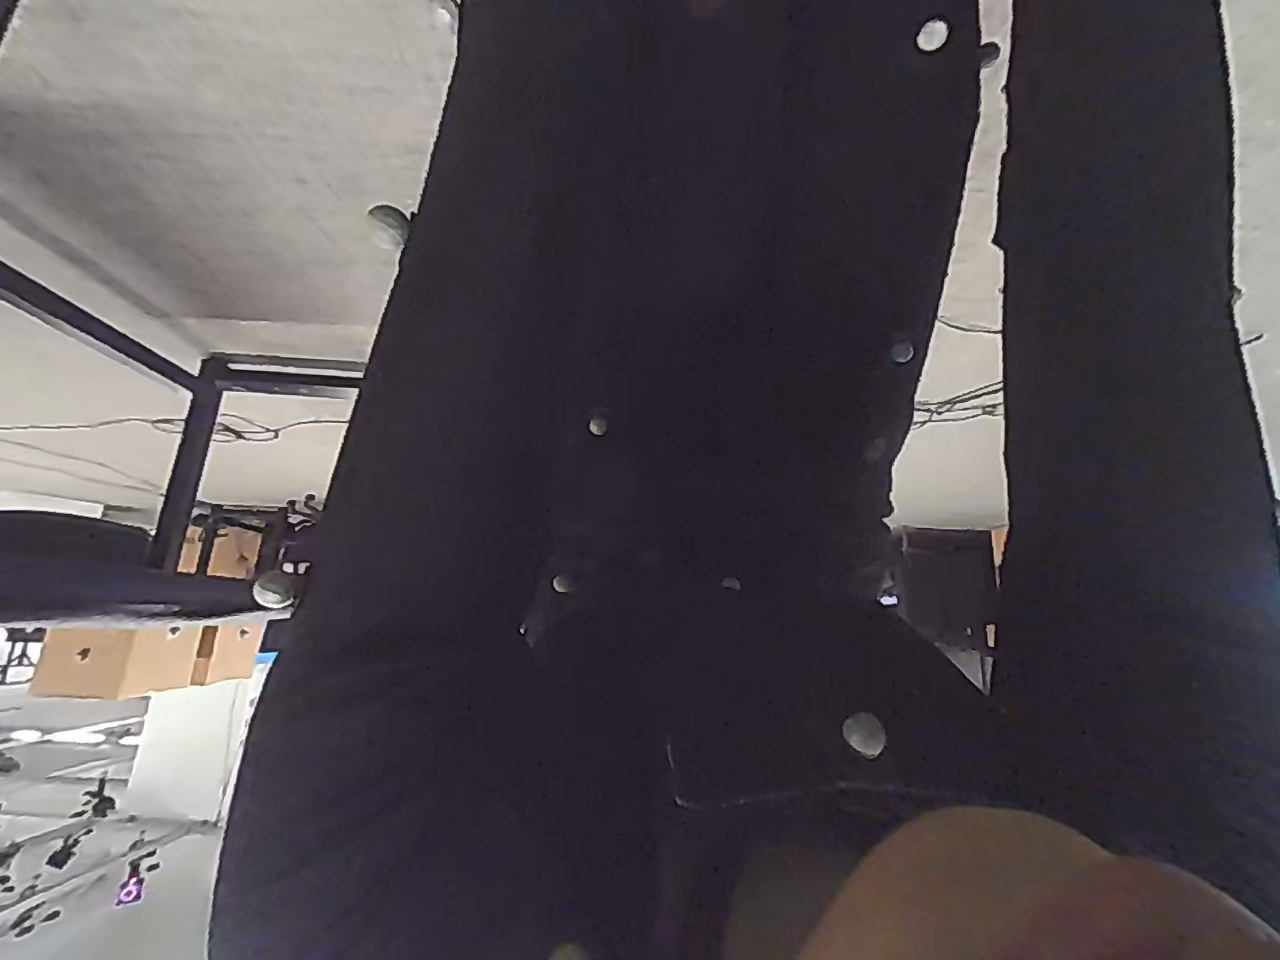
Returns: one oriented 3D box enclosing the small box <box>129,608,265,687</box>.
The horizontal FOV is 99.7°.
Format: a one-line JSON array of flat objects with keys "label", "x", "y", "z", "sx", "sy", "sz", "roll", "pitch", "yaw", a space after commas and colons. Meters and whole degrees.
[{"label": "small box", "x": -1.054, "y": 0.399, "z": 1.304, "sx": 0.179, "sy": 0.176, "sz": 0.168, "roll": 3, "pitch": 165, "yaw": -1}]
